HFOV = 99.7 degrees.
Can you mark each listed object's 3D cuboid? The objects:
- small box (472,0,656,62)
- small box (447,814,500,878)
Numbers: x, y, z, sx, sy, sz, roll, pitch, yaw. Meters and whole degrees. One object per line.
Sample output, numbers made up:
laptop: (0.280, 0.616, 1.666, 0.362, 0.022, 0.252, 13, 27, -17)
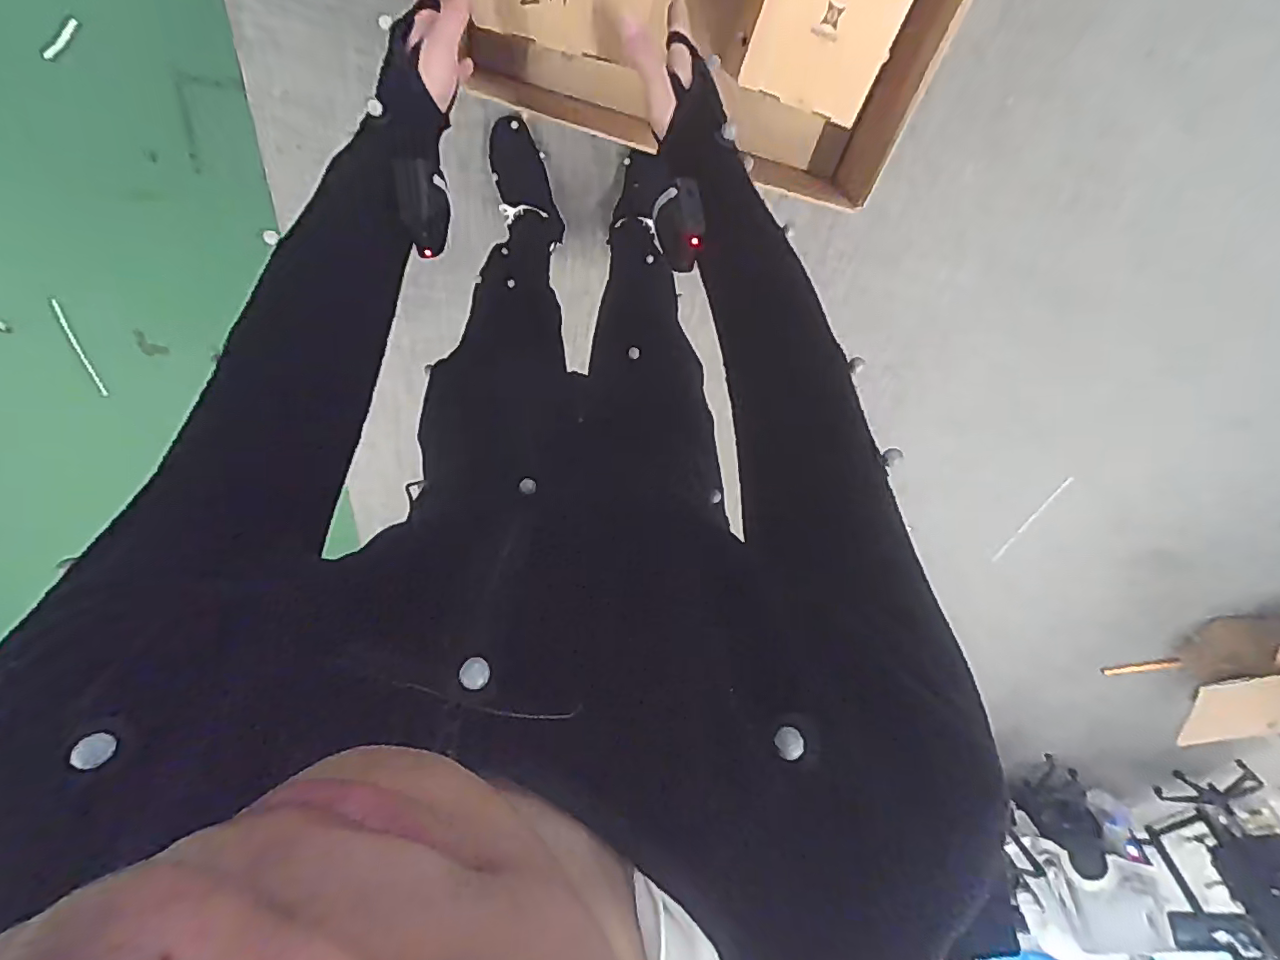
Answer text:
small box: (-0.056, -0.532, 0.510, 0.168, 0.176, 0.179, 10, 132, -9)
small box: (-0.643, 1.429, 2.107, 0.168, 0.176, 0.179, 6, 131, -7)
